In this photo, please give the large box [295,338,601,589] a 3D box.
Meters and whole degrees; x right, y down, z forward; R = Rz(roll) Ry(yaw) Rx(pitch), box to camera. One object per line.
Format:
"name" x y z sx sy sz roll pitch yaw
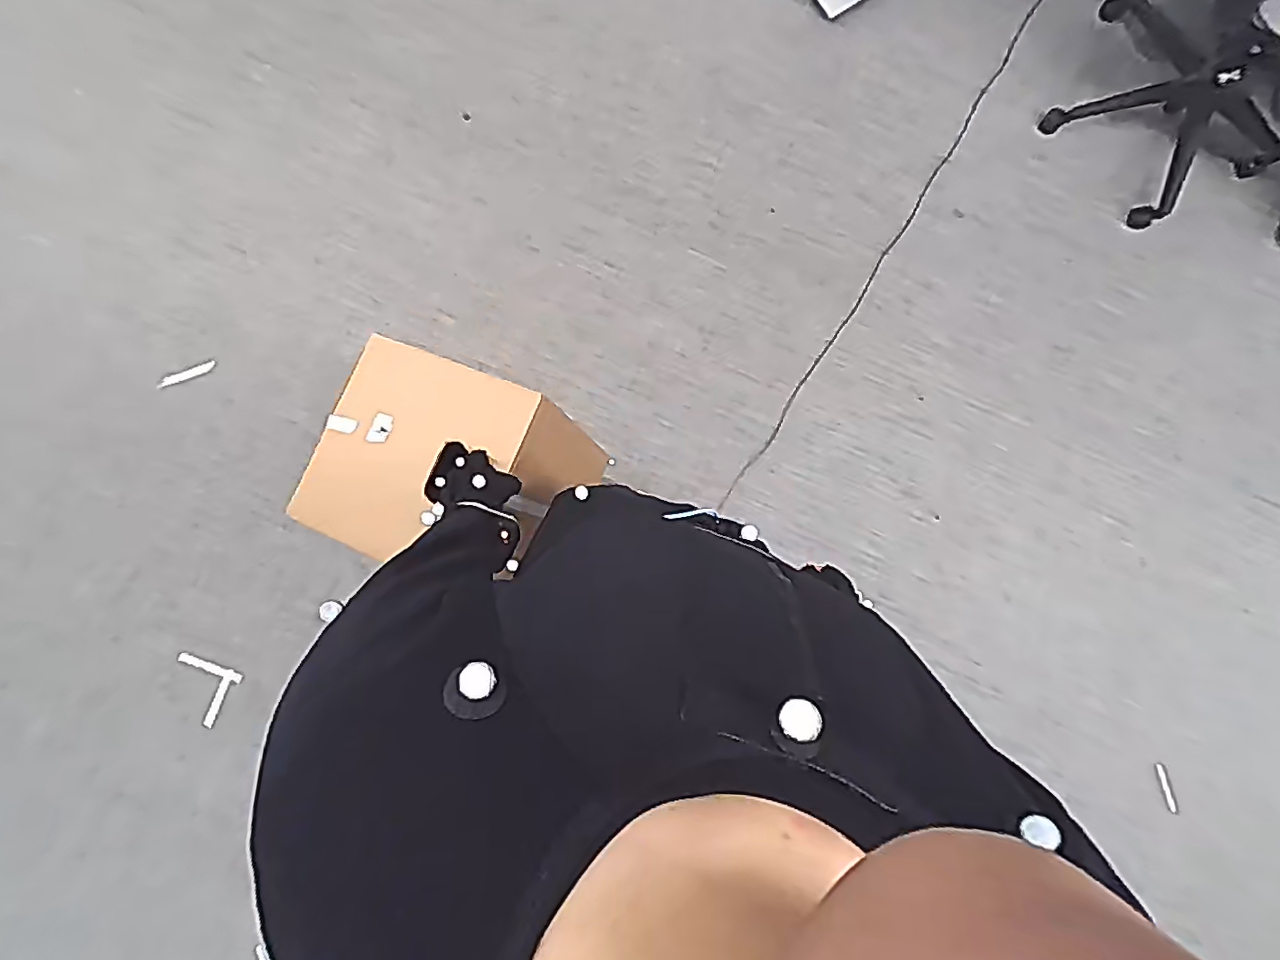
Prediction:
"large box" -0.312 -0.010 0.996 0.320 0.408 0.320 22 85 13
